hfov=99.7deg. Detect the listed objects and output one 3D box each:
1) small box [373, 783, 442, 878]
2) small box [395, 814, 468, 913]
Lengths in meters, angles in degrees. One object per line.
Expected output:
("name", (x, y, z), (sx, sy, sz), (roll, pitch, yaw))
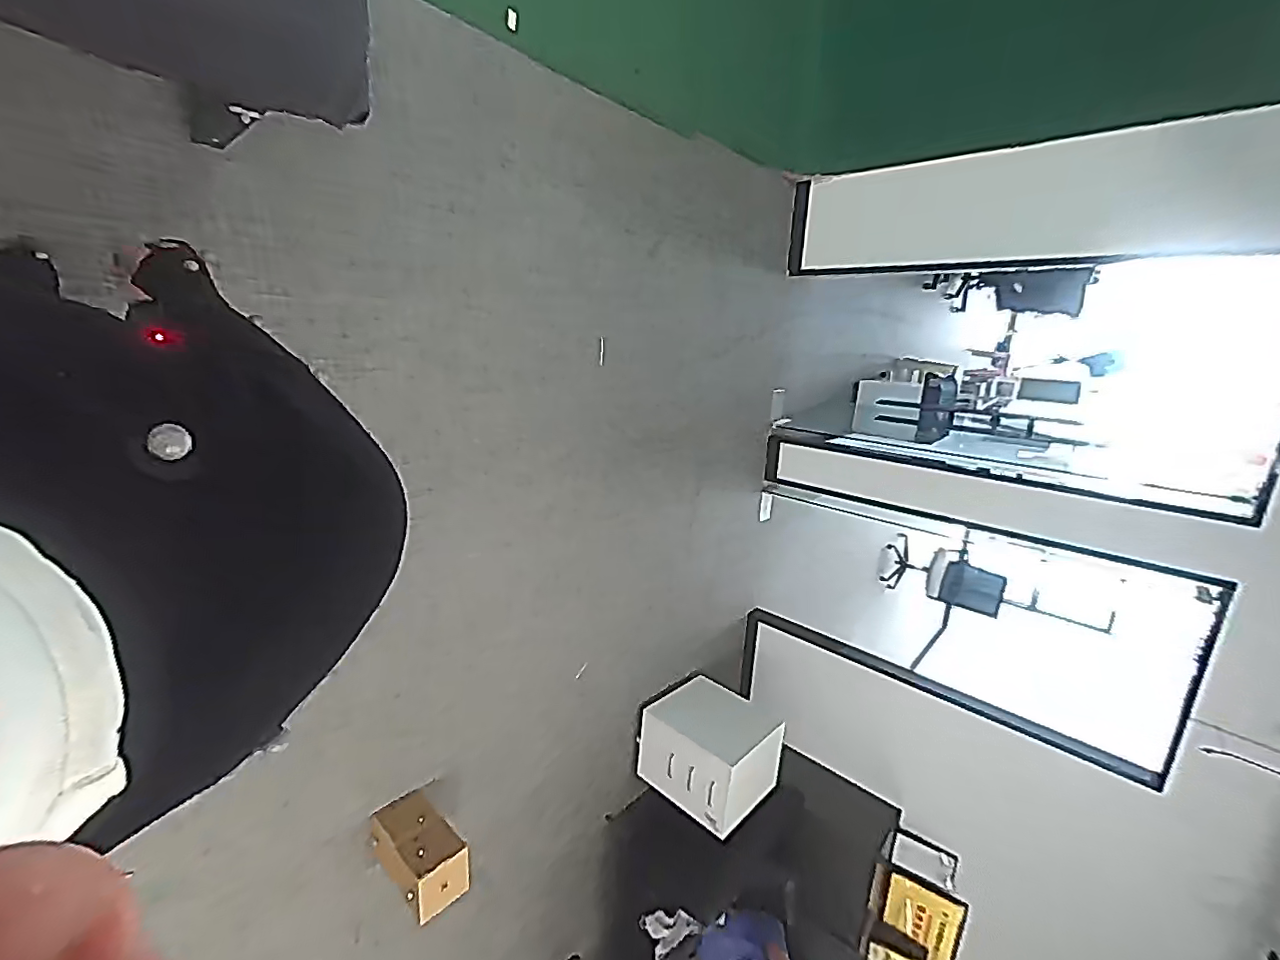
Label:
("small box", (-0.798, 1.191, 1.853), (0.168, 0.176, 0.179), (-11, 111, -48))
("small box", (-0.676, 1.226, 1.751), (0.168, 0.176, 0.179), (-14, 114, -46))
